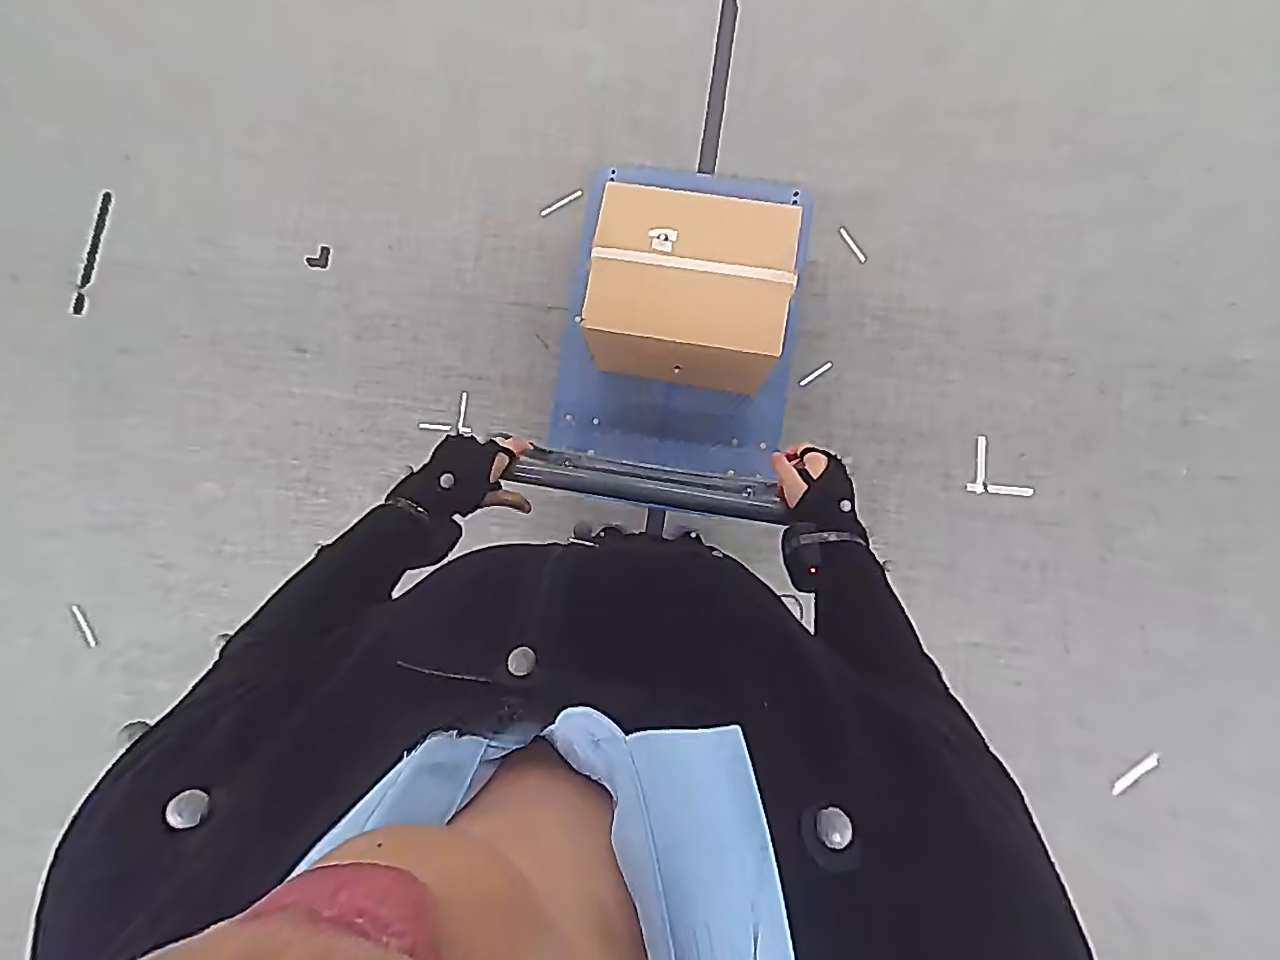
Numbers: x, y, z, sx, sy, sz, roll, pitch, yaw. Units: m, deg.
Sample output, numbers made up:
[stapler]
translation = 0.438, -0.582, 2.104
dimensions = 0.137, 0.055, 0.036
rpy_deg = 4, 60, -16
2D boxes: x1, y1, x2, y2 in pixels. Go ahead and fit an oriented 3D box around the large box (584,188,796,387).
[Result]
[large box]
translation = 0.113, -0.420, 1.249
dimensions = 0.408, 0.320, 0.320
rpy_deg = 9, 85, 5
